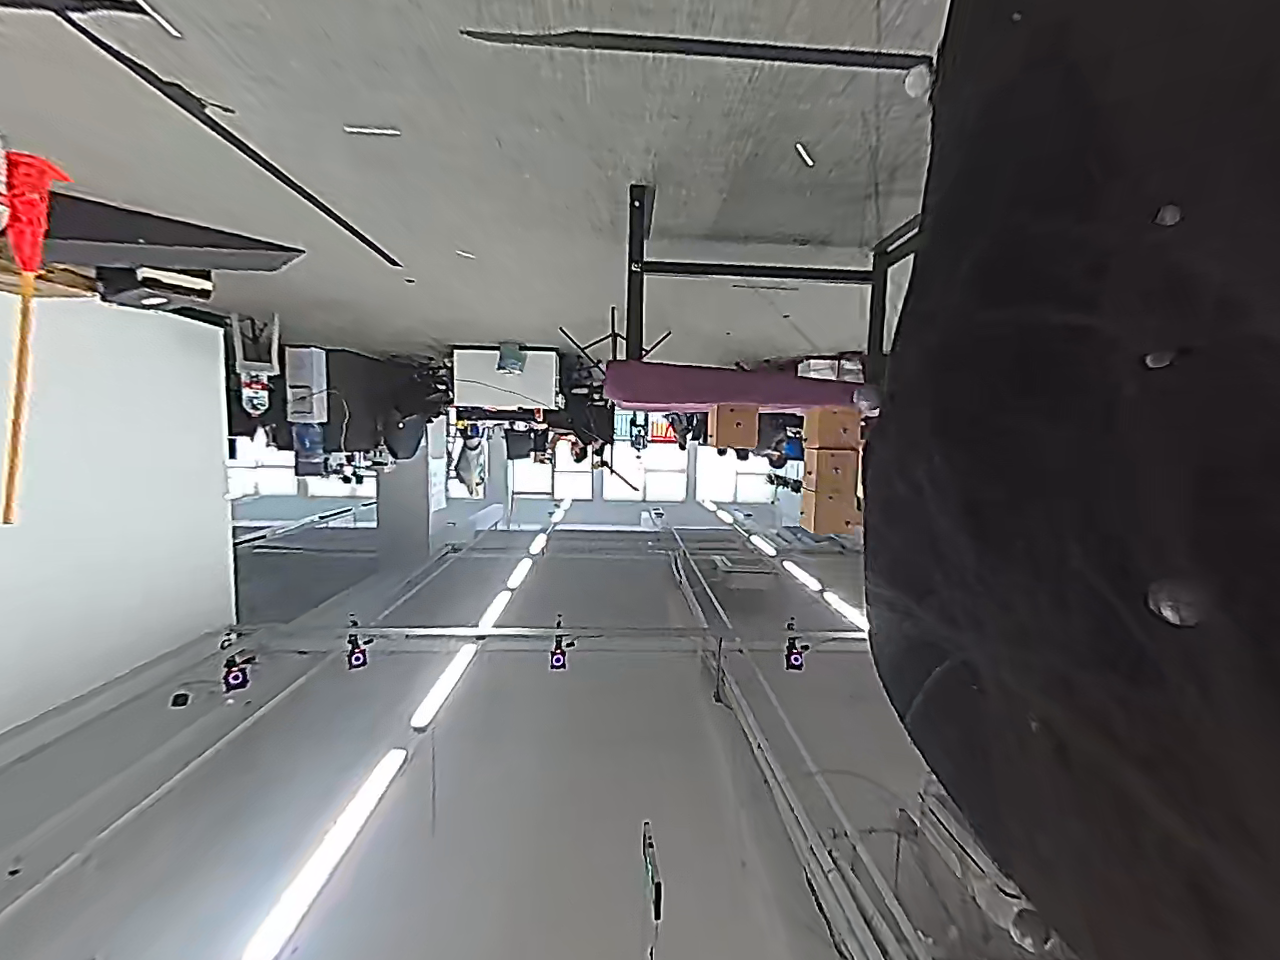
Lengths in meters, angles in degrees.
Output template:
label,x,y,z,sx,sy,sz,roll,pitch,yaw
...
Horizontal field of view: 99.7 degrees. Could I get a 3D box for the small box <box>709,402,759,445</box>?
label,x,y,z,sx,sy,sz,roll,pitch,yaw
small box,0.373,-0.226,2.165,0.168,0.176,0.179,1,-174,-3

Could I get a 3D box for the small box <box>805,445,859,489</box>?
label,x,y,z,sx,sy,sz,roll,pitch,yaw
small box,0.758,-0.056,2.142,0.168,0.176,0.179,1,-175,2

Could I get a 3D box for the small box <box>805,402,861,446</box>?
label,x,y,z,sx,sy,sz,roll,pitch,yaw
small box,0.763,-0.221,2.148,0.168,0.176,0.179,1,-174,-3
